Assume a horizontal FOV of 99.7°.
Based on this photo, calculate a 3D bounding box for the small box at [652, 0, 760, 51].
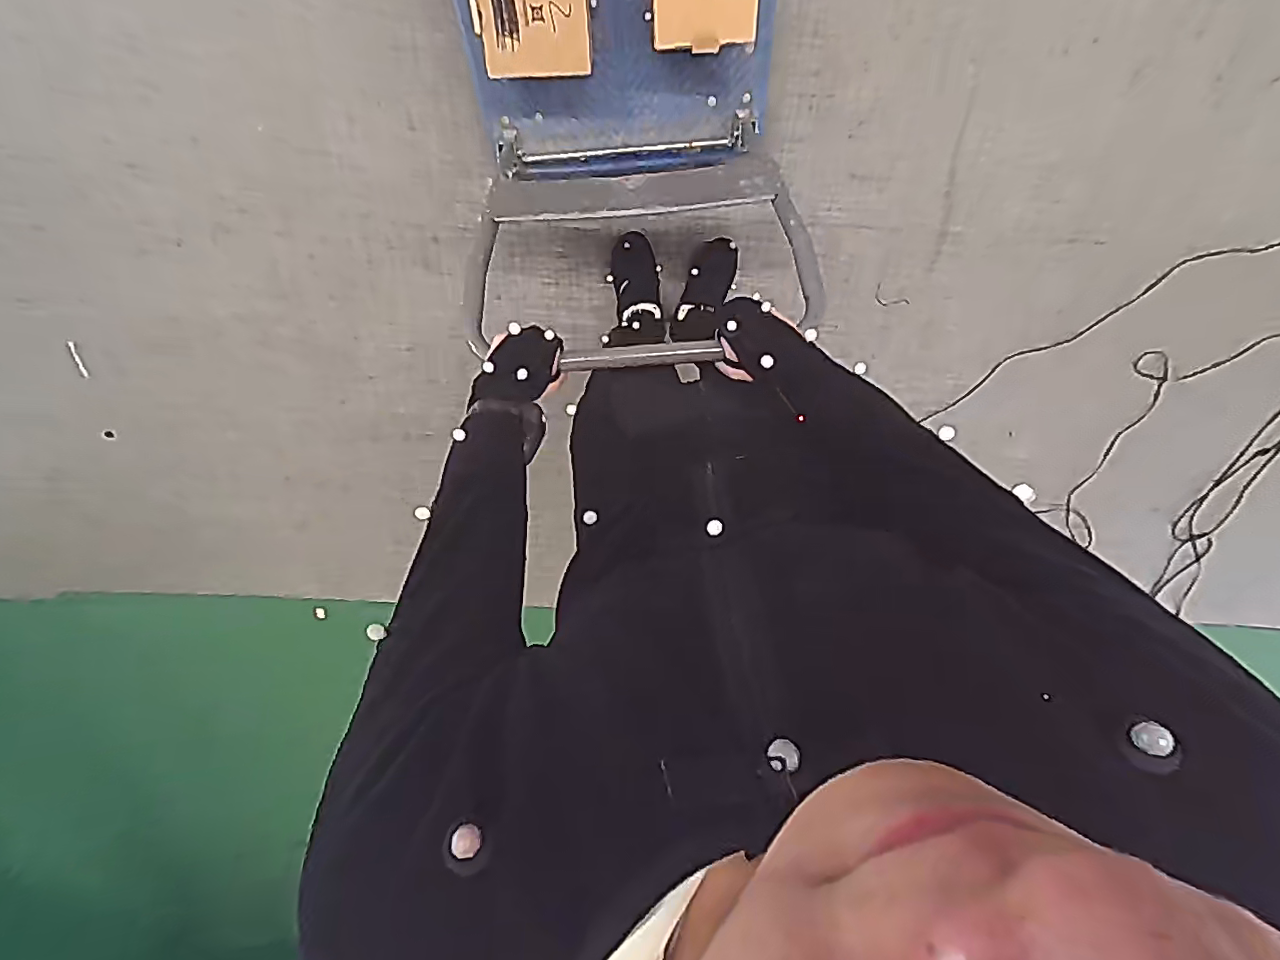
[{"bbox_3d":[0.104,-0.832,0.884,0.168,0.176,0.179,-4,139,1],"label":"small box"}]
